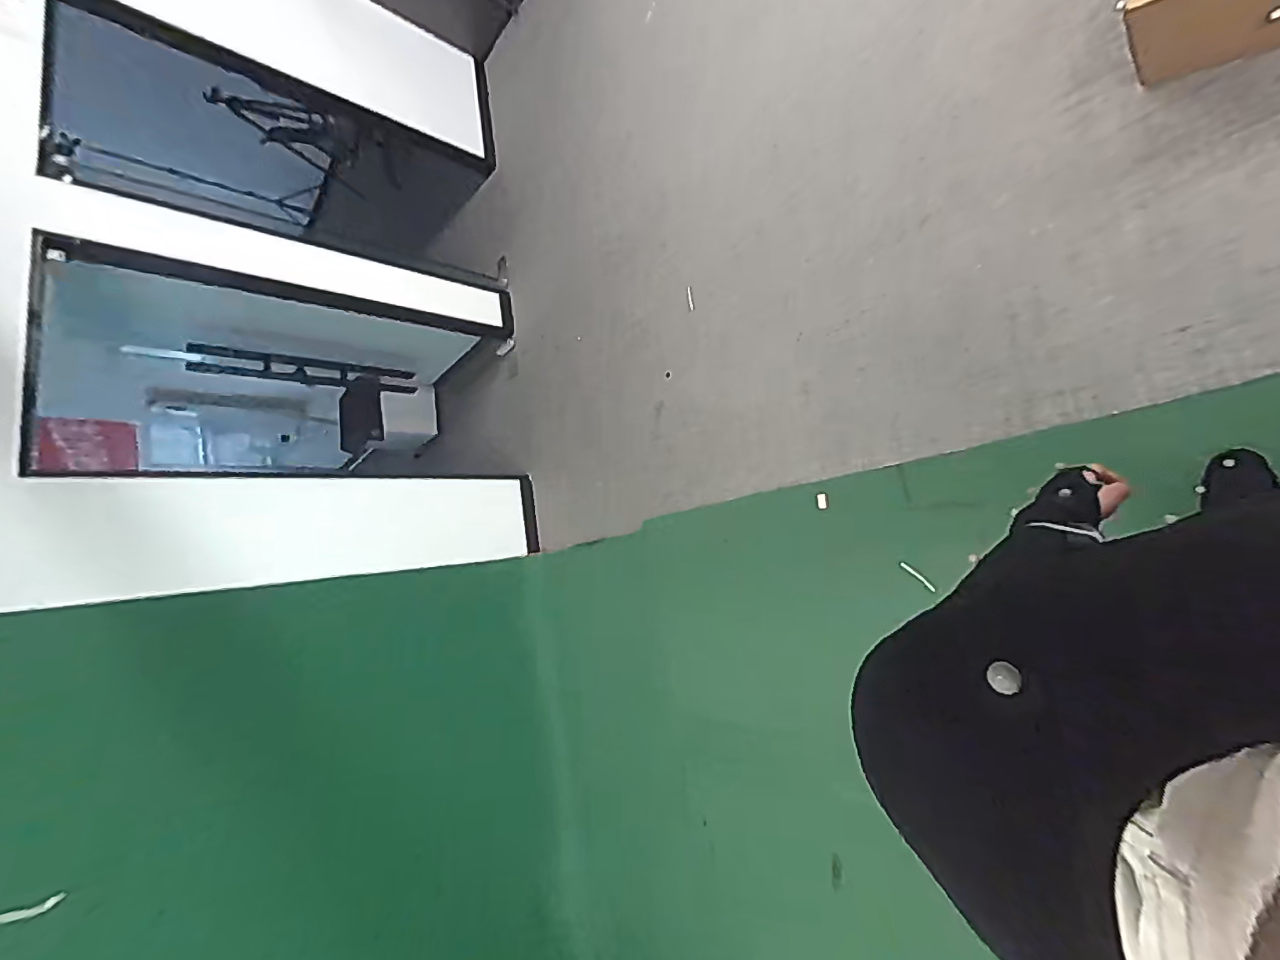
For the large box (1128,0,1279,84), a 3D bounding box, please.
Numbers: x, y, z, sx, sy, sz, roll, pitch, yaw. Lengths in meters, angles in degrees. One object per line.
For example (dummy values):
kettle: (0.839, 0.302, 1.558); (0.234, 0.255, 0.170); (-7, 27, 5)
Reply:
large box: (1.209, -1.038, 0.993); (0.408, 0.320, 0.320); (10, 97, 49)
